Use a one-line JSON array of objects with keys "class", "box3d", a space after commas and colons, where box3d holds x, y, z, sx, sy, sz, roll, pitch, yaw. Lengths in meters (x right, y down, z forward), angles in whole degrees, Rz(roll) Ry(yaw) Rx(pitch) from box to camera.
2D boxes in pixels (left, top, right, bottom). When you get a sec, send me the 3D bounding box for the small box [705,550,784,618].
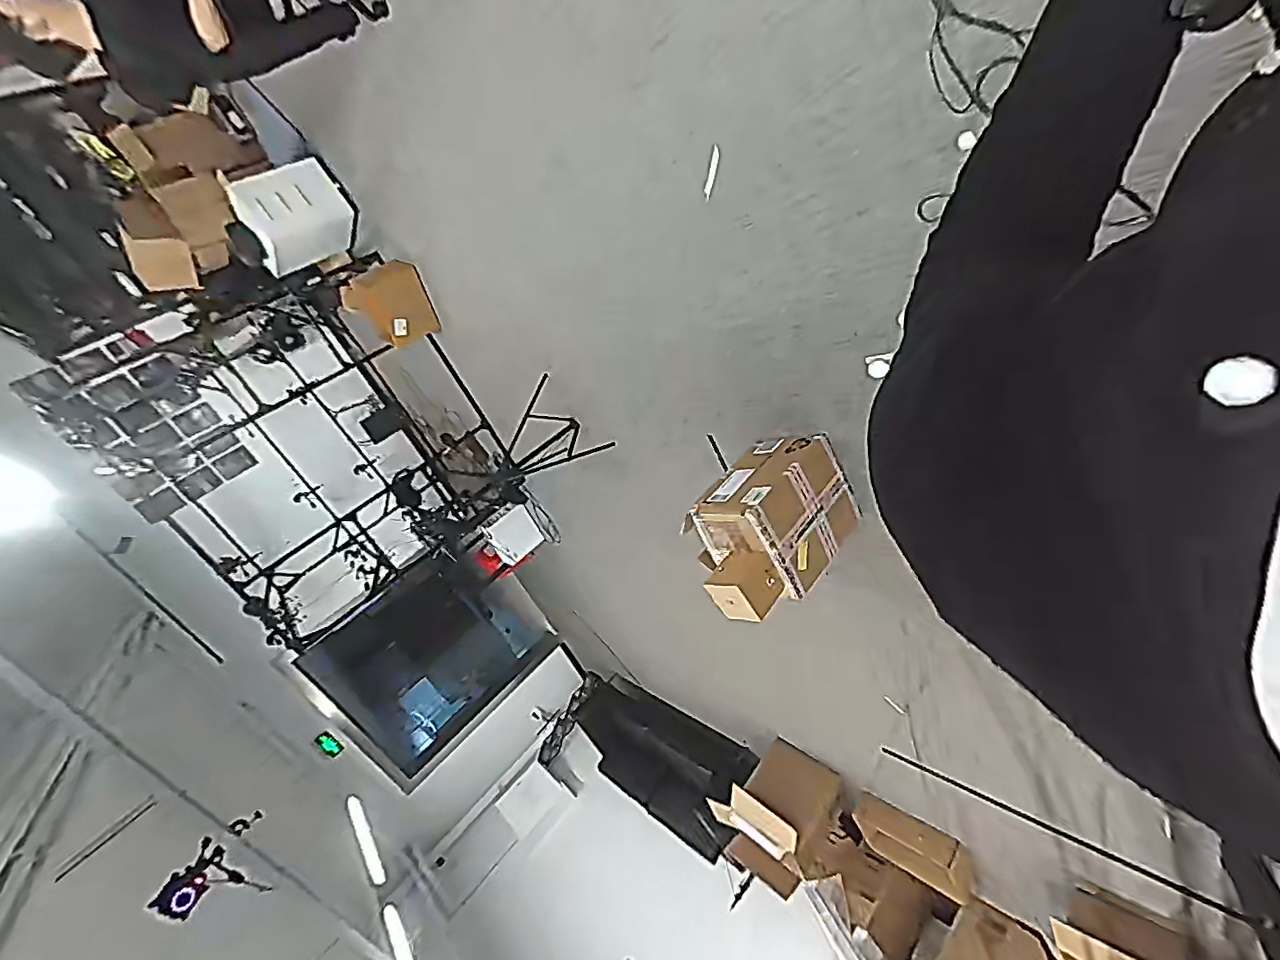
[{"class": "small box", "box3d": [0.368, 0.361, 1.895, 0.168, 0.176, 0.179, 54, 147, -13]}]
